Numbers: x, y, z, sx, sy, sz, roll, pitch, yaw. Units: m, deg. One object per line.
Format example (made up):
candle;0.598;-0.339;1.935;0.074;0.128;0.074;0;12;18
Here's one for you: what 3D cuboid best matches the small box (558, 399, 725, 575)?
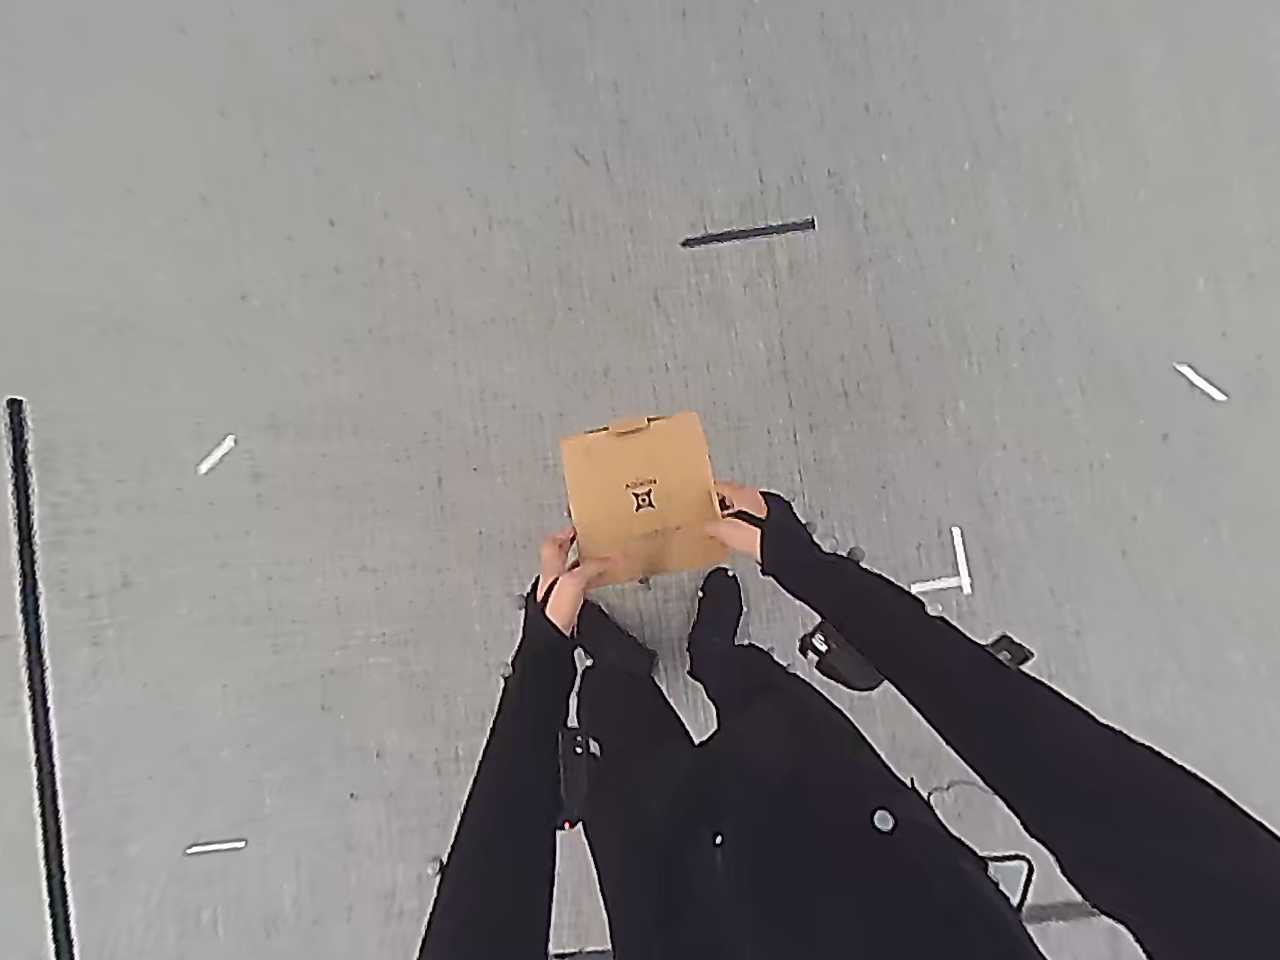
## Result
small box;-0.001;0.019;0.686;0.168;0.176;0.179;-11;79;-2
